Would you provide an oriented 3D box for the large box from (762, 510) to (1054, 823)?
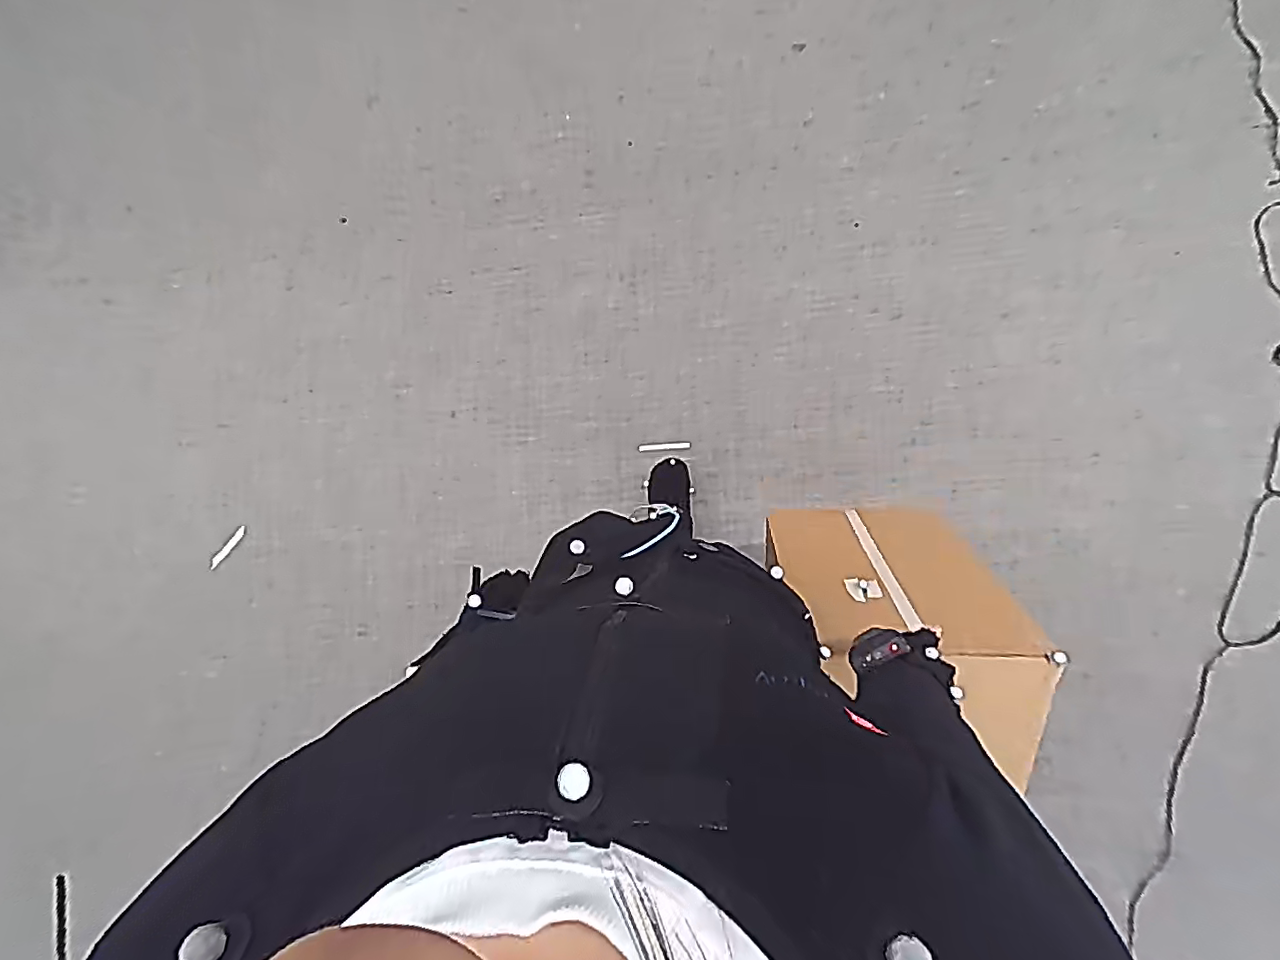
[{"bbox_3d":[0.384,0.278,0.914,0.320,0.408,0.320,-2,114,8],"label":"large box"}]
